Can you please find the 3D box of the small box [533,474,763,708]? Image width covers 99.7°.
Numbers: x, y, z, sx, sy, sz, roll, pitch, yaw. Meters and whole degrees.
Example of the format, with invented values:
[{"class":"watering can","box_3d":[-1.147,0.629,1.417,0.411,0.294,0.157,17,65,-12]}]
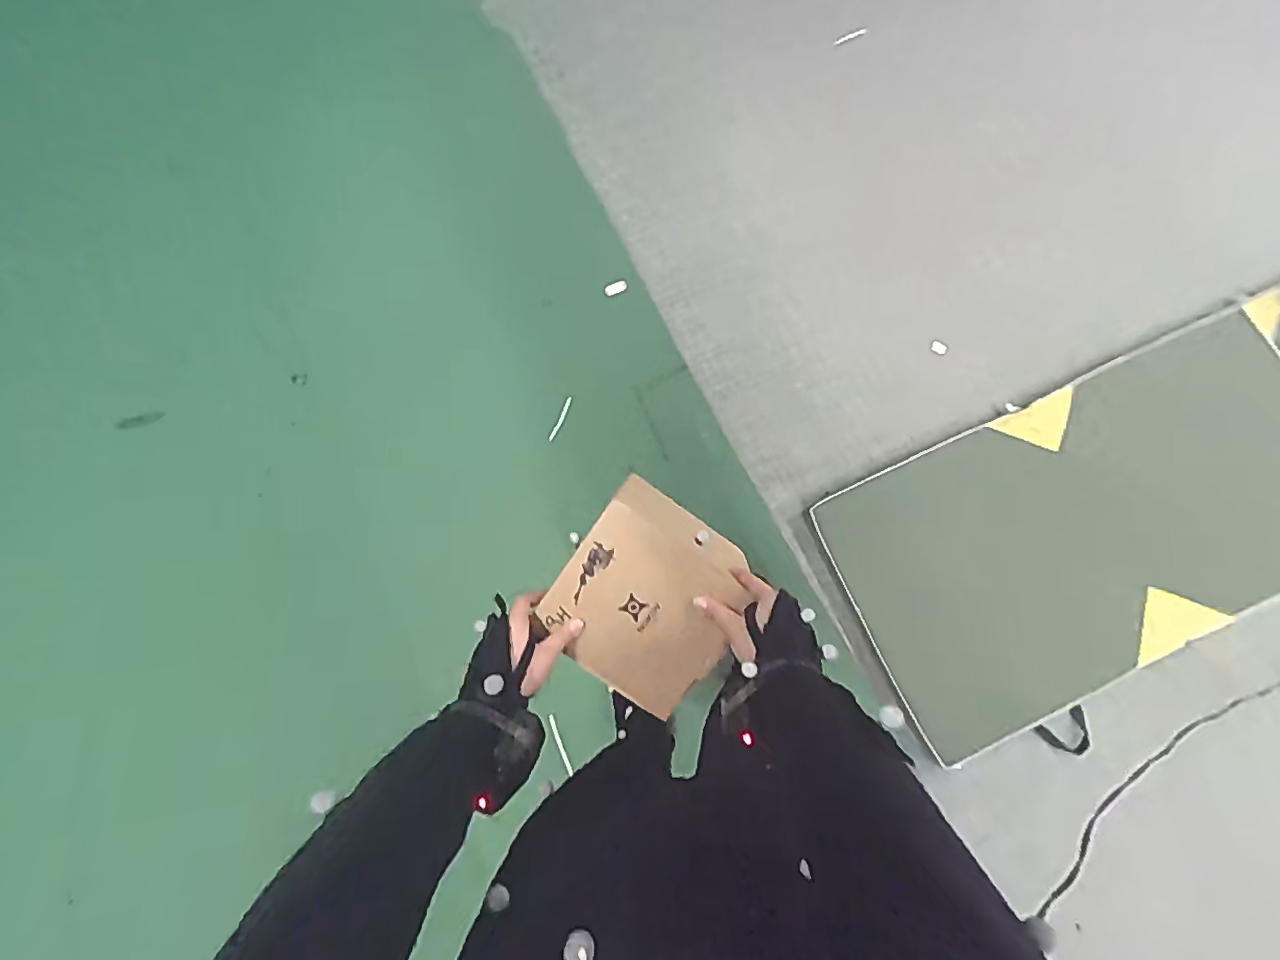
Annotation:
[{"class":"small box","box_3d":[0.012,0.110,0.618,0.179,0.176,0.168,37,99,-2]}]
